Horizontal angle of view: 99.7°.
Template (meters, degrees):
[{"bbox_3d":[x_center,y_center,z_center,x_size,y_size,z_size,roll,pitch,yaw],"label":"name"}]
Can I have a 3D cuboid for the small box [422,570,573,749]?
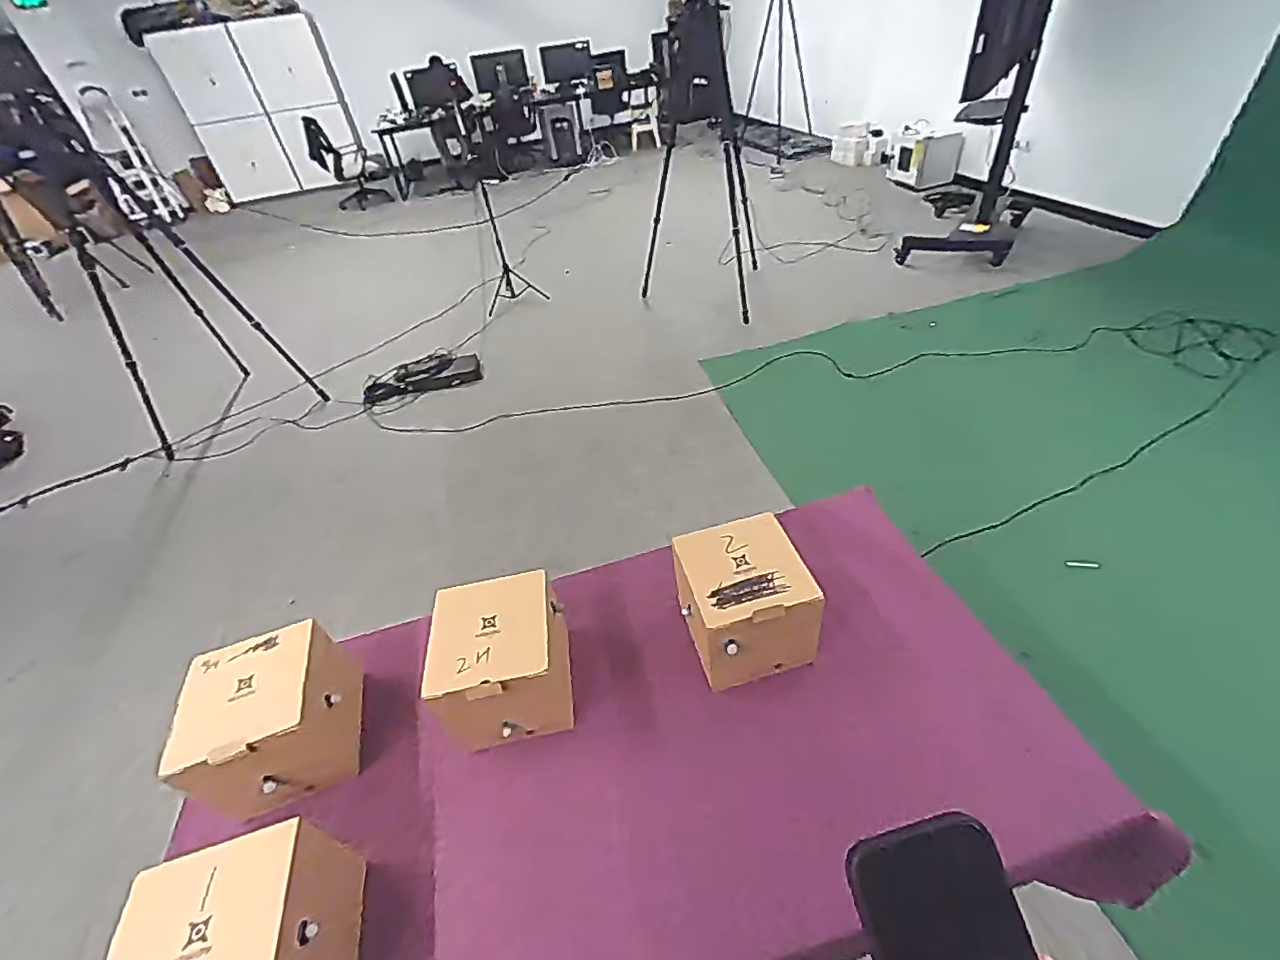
[{"bbox_3d":[-0.199,0.265,0.803,0.168,0.176,0.179,-11,42,-2],"label":"small box"}]

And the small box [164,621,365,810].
[{"bbox_3d":[-0.515,0.343,0.776,0.168,0.176,0.179,-18,43,-11],"label":"small box"}]

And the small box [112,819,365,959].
[{"bbox_3d":[-0.415,0.506,0.574,0.168,0.176,0.179,-16,40,-8],"label":"small box"}]
